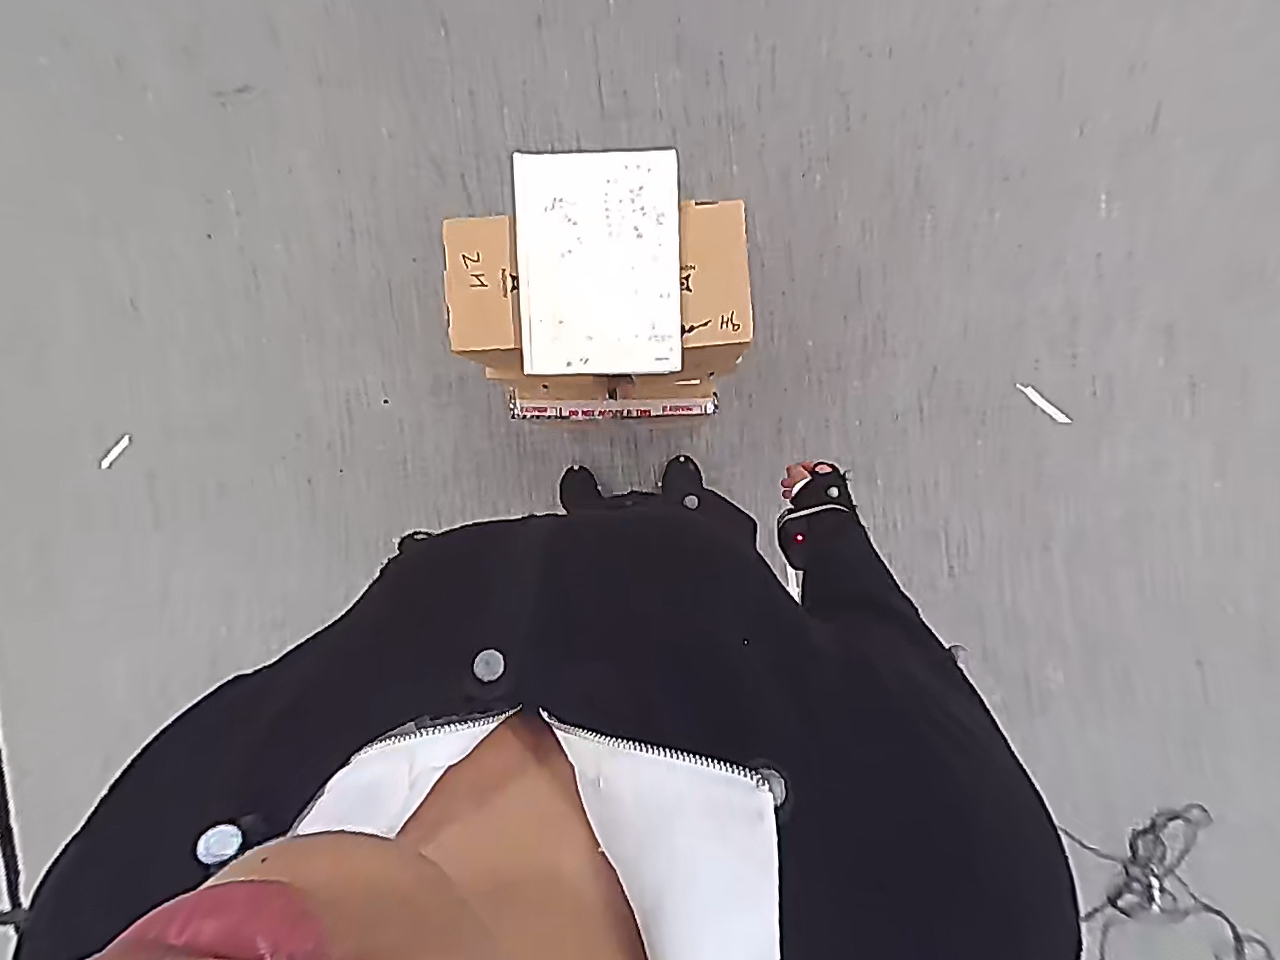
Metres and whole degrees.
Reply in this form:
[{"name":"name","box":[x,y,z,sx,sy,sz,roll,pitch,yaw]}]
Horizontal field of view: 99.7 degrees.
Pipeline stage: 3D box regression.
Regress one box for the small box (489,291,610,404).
[{"name":"small box","box":[-0.149,-0.223,0.943,0.179,0.176,0.168,3,94,4]}]

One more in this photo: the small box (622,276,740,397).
[{"name":"small box","box":[0.066,-0.238,0.932,0.179,0.176,0.168,-6,93,3]}]
